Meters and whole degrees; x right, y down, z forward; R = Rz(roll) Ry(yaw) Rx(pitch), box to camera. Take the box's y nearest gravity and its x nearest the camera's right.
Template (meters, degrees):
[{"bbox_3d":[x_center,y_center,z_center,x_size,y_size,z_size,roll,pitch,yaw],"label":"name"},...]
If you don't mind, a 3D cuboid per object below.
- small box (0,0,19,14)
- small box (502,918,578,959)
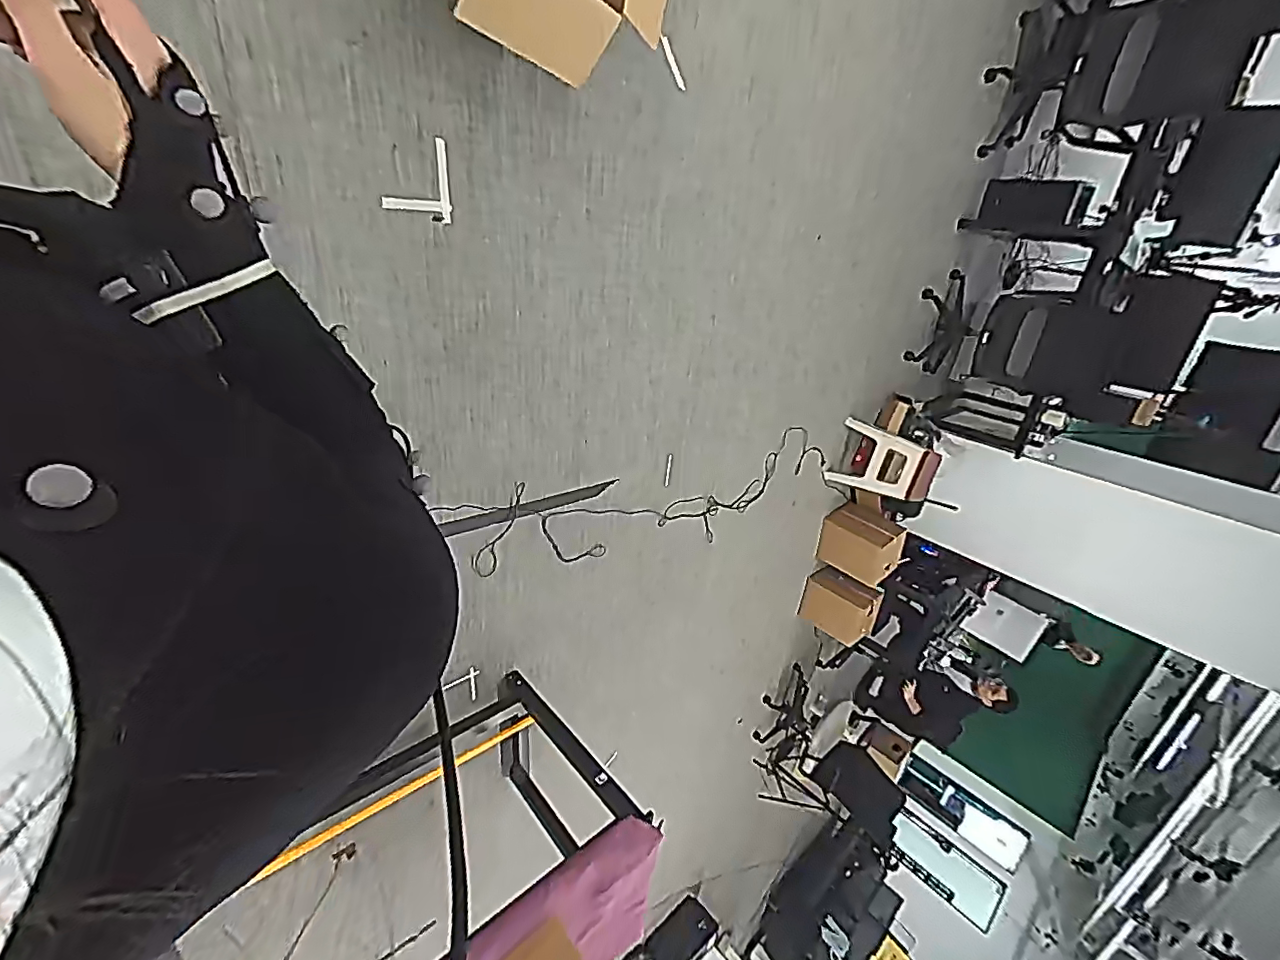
[{"bbox_3d":[-0.398,-0.326,0.221,0.179,0.176,0.168,-16,125,-46],"label":"small box"},{"bbox_3d":[-0.242,1.228,1.304,0.179,0.176,0.168,-22,127,-37],"label":"small box"}]
